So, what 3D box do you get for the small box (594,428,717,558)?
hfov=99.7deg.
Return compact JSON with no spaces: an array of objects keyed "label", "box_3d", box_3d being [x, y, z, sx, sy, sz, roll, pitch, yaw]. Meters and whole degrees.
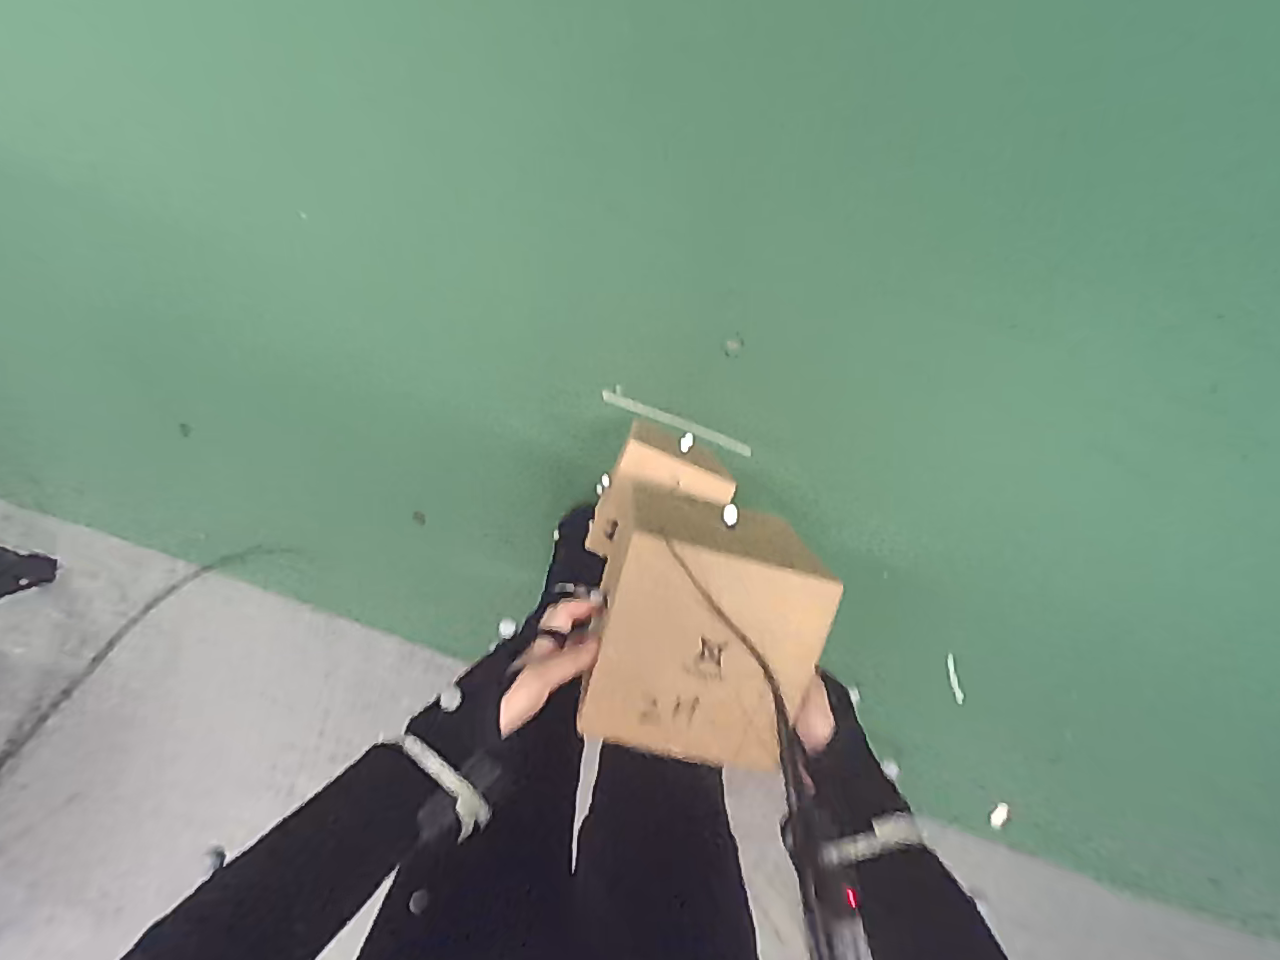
[{"label":"small box","box_3d":[0.025,0.014,1.017,0.168,0.176,0.179,24,101,-4]}]
